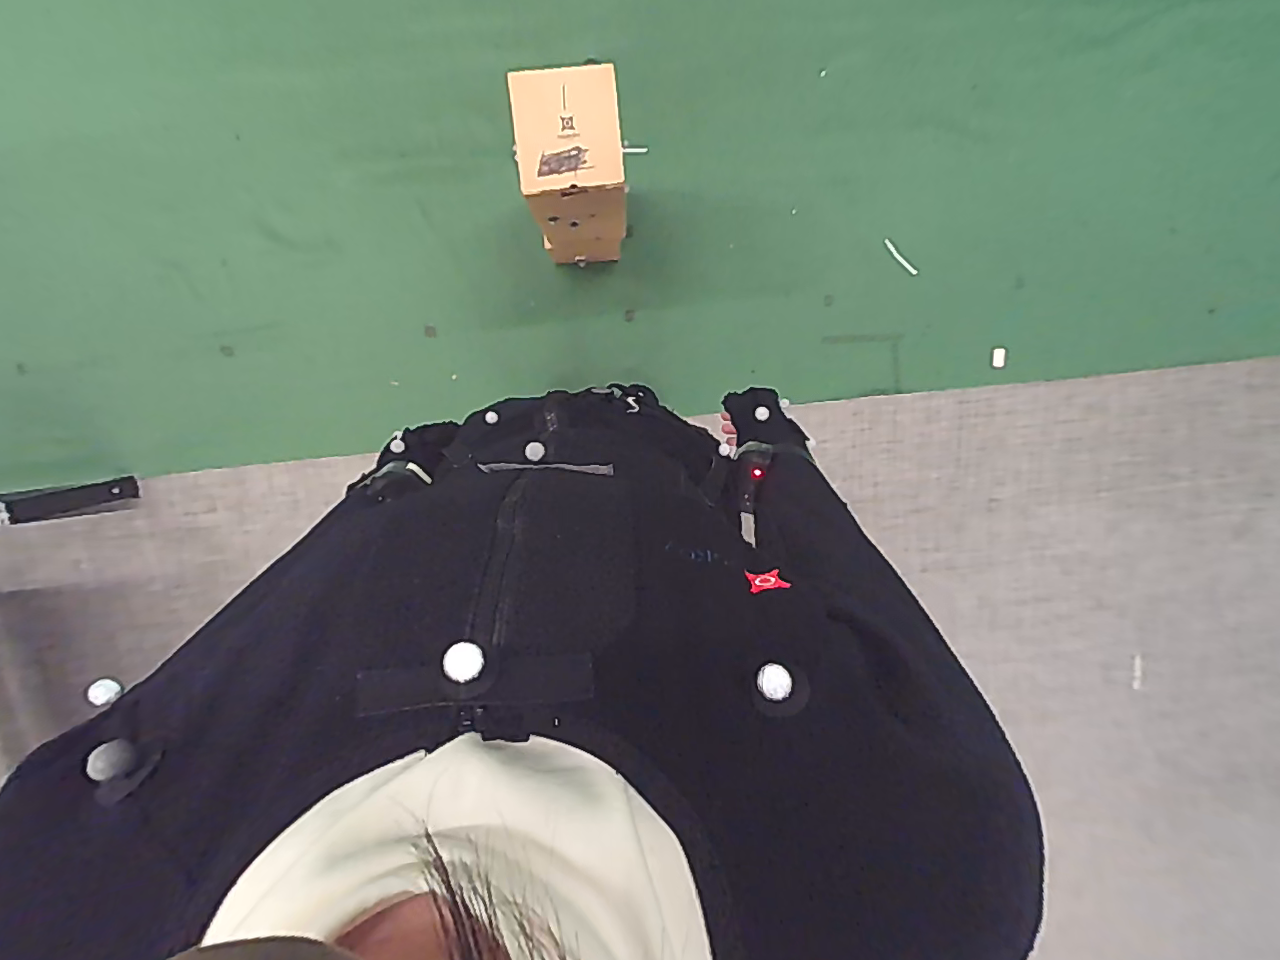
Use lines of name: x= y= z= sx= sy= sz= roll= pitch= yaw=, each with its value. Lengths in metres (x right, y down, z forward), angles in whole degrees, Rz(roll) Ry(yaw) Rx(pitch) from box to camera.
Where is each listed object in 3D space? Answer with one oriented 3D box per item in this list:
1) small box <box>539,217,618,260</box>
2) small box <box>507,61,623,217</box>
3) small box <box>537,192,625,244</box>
small box: x=-0.135 y=-0.608 z=1.218 sx=0.168 sy=0.176 sz=0.179 roll=-3 pitch=101 yaw=0
small box: x=-0.116 y=-0.559 z=0.912 sx=0.168 sy=0.176 sz=0.179 roll=-6 pitch=100 yaw=-1
small box: x=-0.120 y=-0.589 z=1.074 sx=0.168 sy=0.176 sz=0.179 roll=-6 pitch=99 yaw=-1
